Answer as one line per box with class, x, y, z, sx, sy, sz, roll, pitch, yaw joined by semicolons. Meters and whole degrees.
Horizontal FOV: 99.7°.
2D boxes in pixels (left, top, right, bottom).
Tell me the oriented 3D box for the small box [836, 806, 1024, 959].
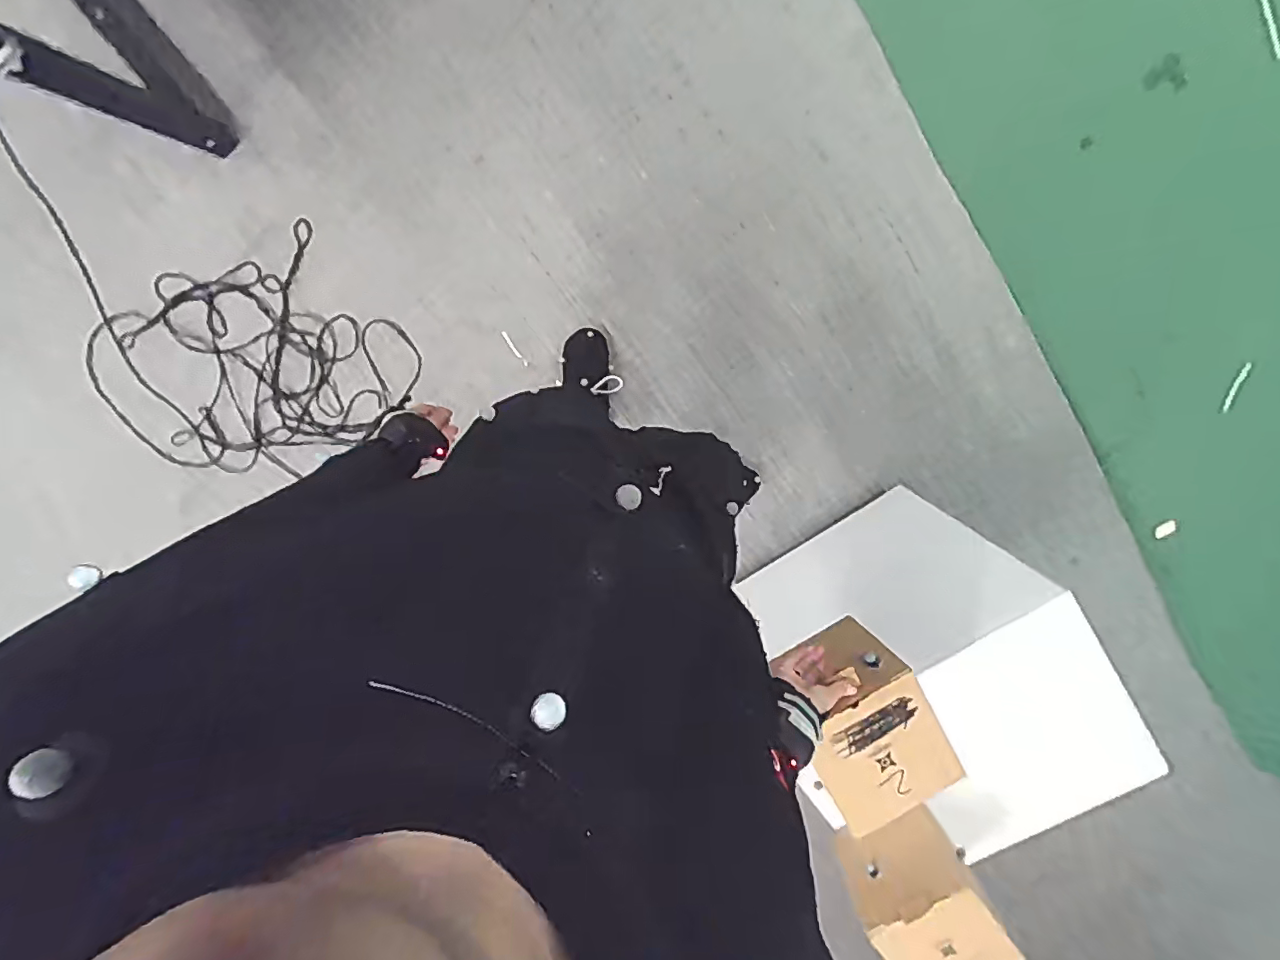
small box;0.437;0.648;0.841;0.168;0.176;0.179;-35;103;10
